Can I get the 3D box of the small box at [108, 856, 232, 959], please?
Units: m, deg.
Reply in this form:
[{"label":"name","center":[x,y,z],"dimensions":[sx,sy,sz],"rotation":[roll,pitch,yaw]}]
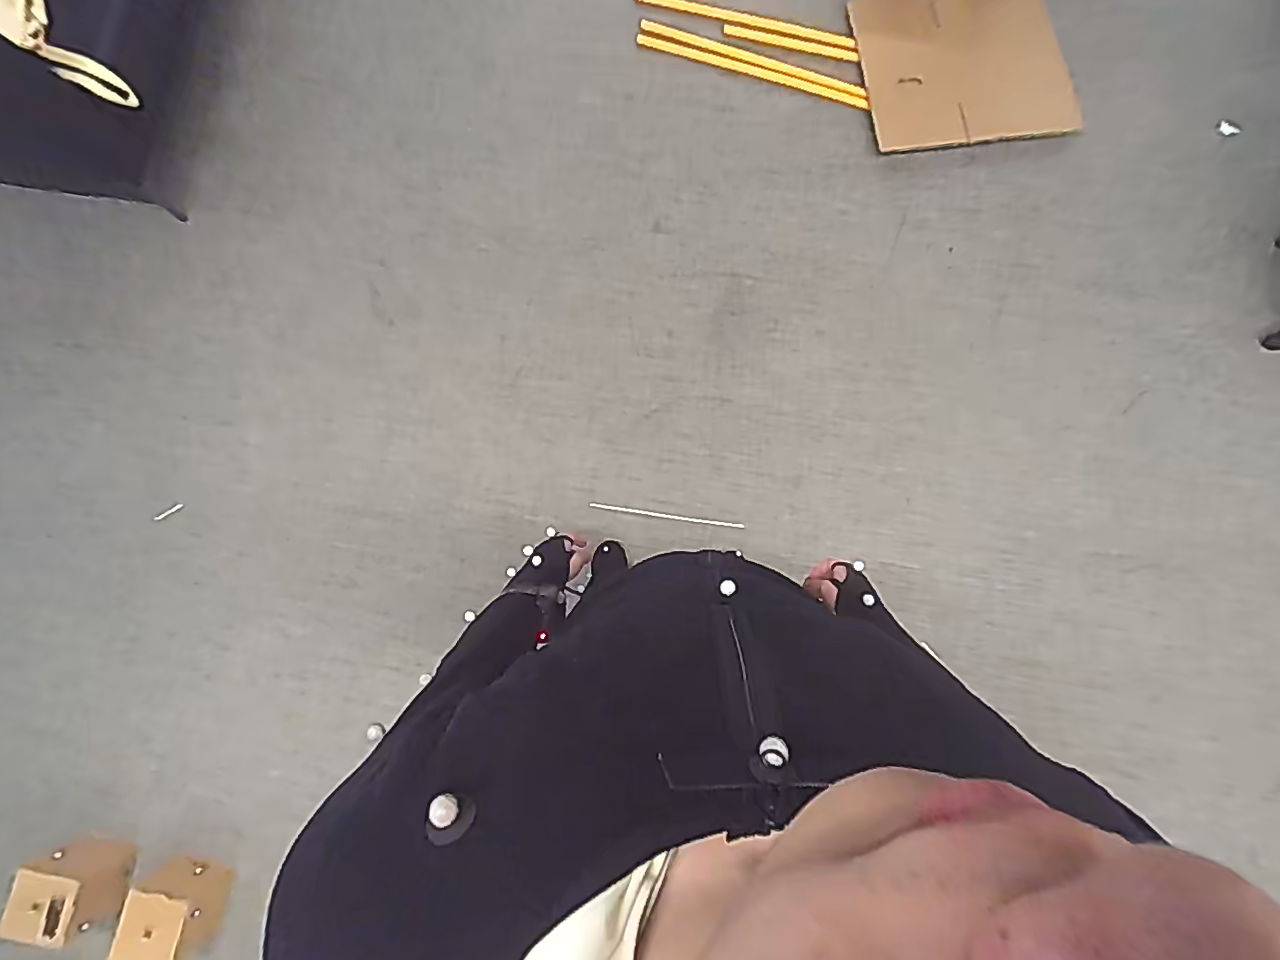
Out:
[{"label":"small box","center":[-1.249,1.161,1.453],"dimensions":[0.168,0.176,0.179],"rotation":[11,81,3]}]
